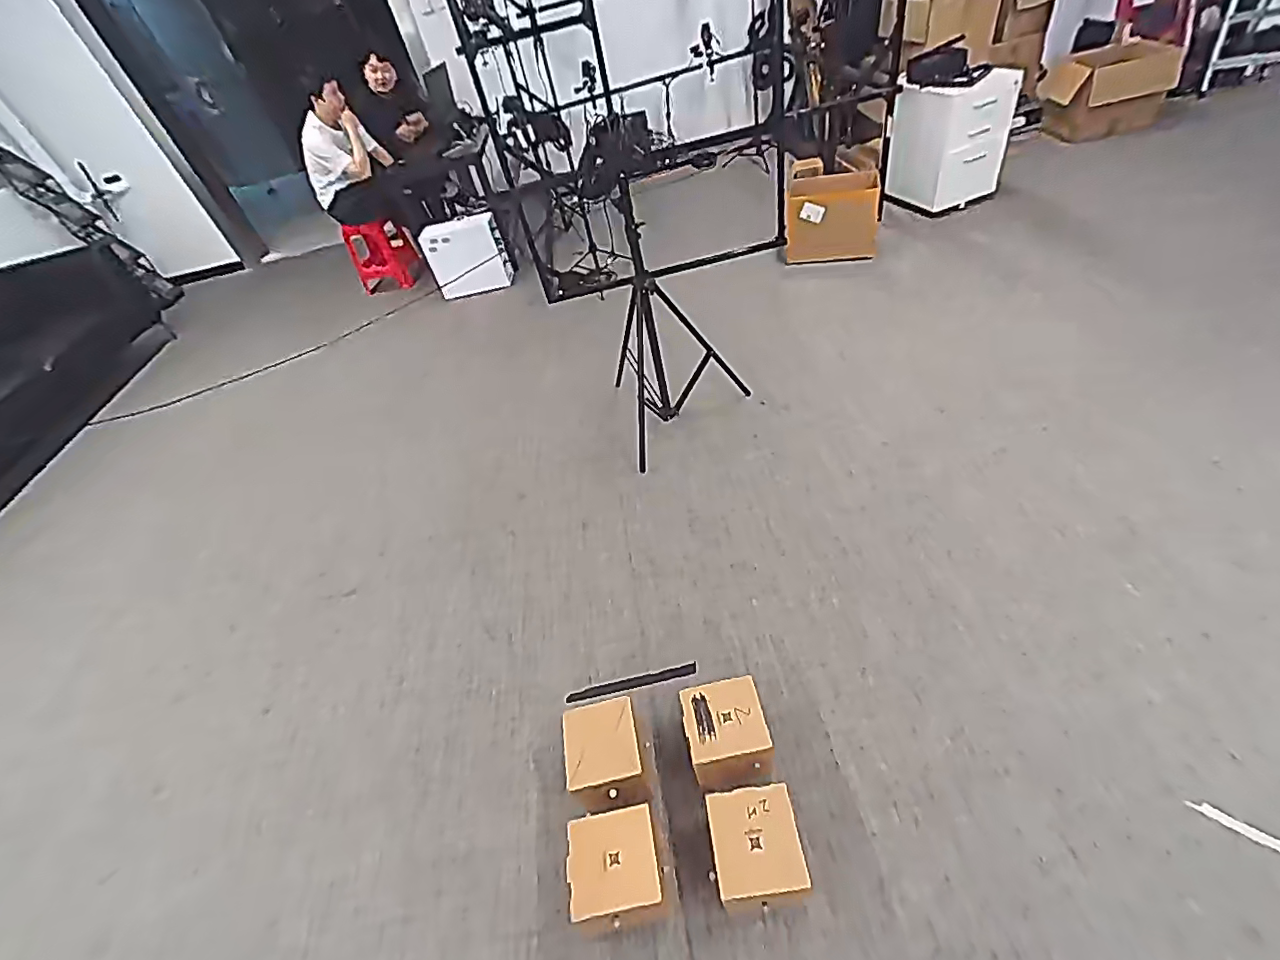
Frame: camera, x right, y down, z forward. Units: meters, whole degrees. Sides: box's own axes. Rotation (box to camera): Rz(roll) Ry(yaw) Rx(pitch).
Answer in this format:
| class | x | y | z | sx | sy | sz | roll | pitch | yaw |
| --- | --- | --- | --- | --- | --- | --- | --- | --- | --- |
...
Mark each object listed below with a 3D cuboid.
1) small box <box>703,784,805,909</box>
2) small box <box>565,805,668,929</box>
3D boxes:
| class | x | y | z | sx | sy | sz | roll | pitch | yaw |
| --- | --- | --- | --- | --- | --- | --- | --- | --- | --- |
| small box | 0.227 | 0.741 | 1.088 | 0.168 | 0.176 | 0.179 | -10 | 44 | 3 |
| small box | -0.044 | 0.795 | 1.110 | 0.179 | 0.176 | 0.168 | -14 | 44 | 2 |
